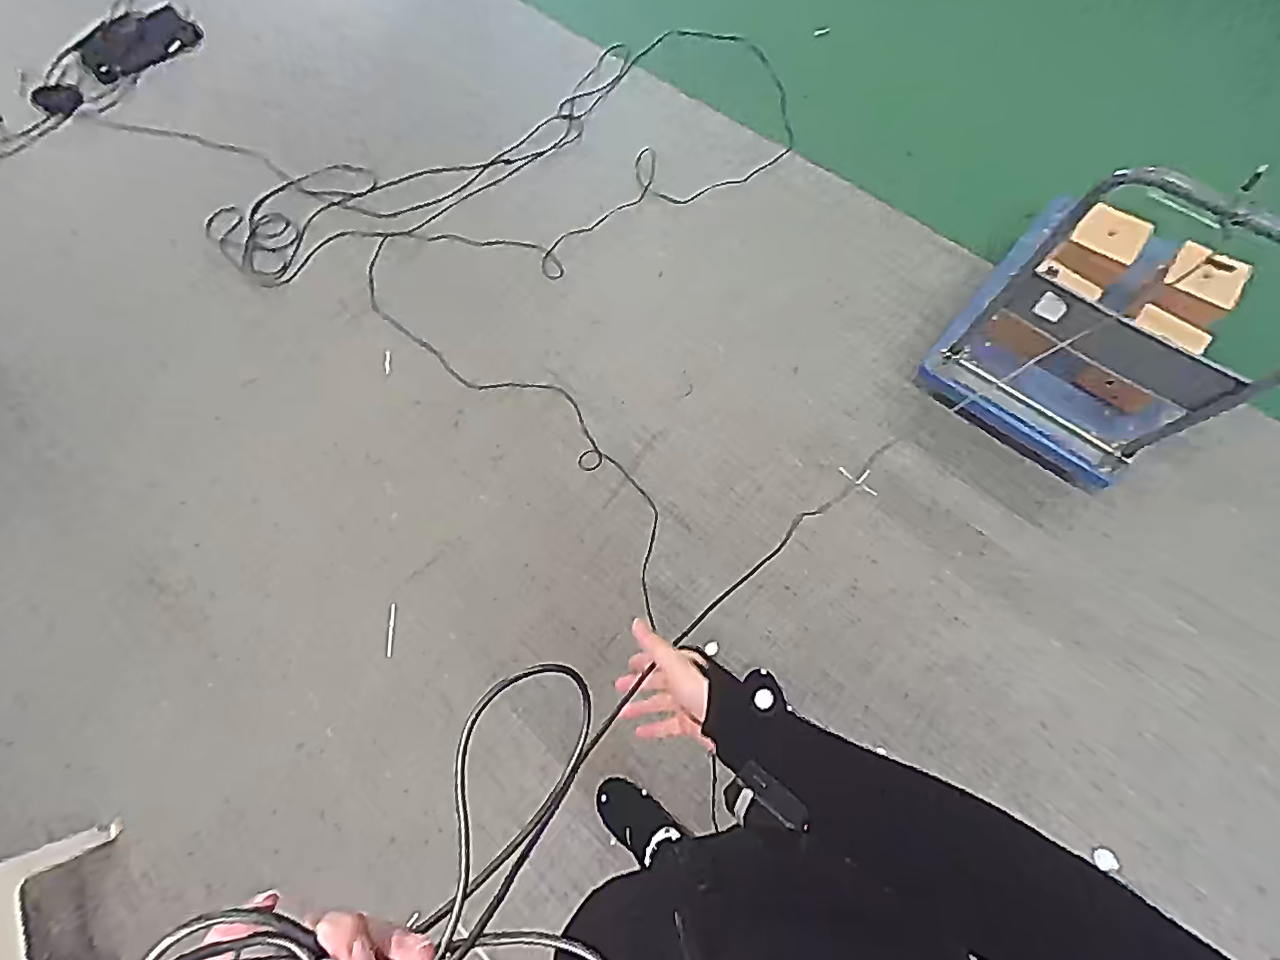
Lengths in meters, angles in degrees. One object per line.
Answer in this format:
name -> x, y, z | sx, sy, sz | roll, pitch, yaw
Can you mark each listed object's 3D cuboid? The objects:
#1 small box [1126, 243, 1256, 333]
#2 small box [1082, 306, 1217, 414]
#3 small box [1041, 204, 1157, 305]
small box -> 1.507, -0.503, 1.490 | 0.168, 0.176, 0.179 | 35, 75, 16
small box -> 1.328, -0.311, 1.424 | 0.168, 0.176, 0.179 | 40, 76, 16
small box -> 1.306, -0.641, 1.555 | 0.168, 0.176, 0.179 | 35, 74, 14
